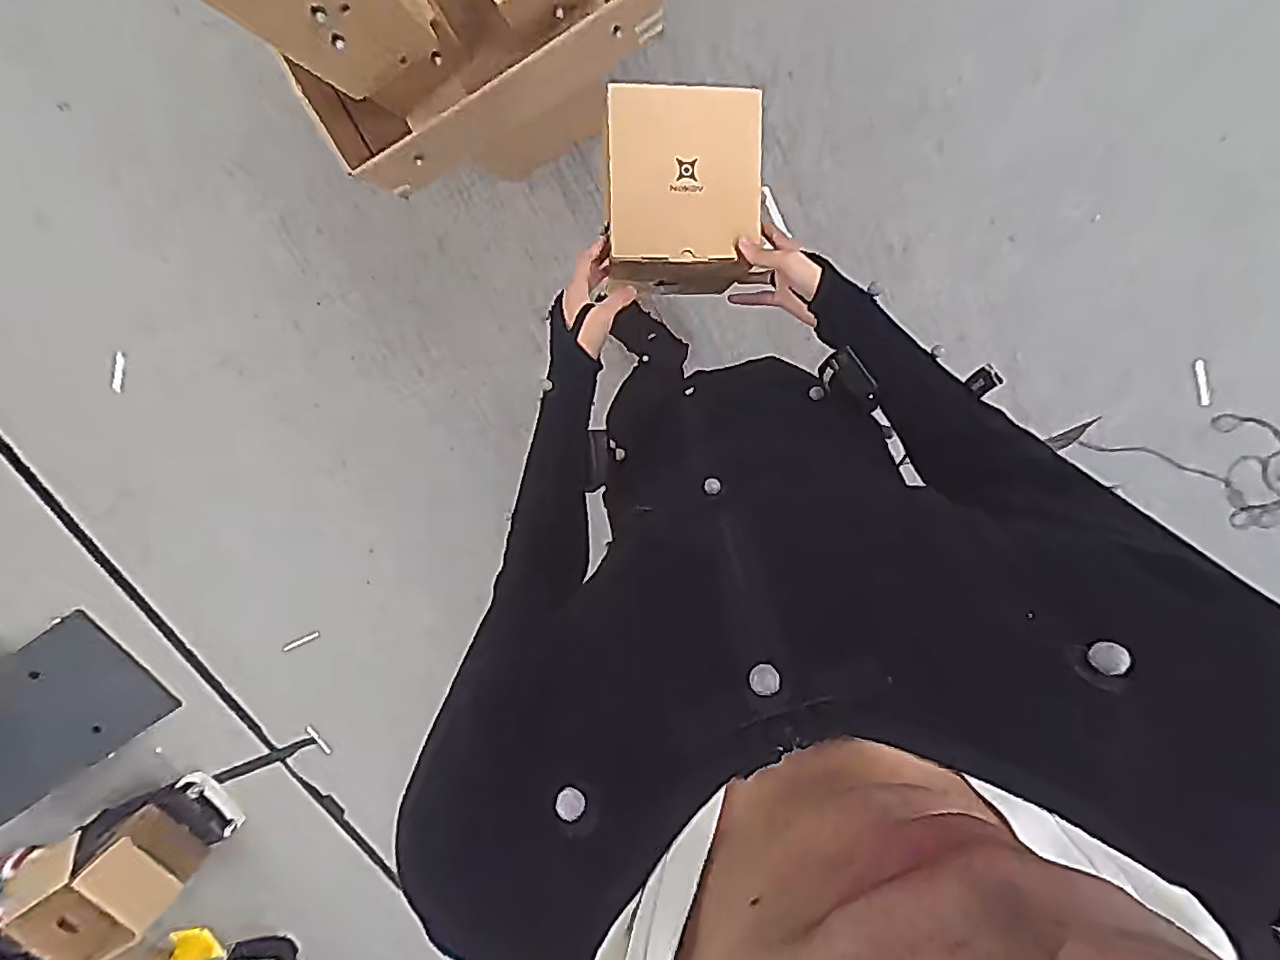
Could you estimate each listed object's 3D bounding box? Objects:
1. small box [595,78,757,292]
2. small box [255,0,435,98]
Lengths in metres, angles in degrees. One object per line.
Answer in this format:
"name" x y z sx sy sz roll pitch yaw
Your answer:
"small box" 0.034 -0.335 0.648 0.168 0.176 0.179 -3 97 -6
"small box" -0.427 -0.691 0.758 0.168 0.176 0.179 -25 105 11
